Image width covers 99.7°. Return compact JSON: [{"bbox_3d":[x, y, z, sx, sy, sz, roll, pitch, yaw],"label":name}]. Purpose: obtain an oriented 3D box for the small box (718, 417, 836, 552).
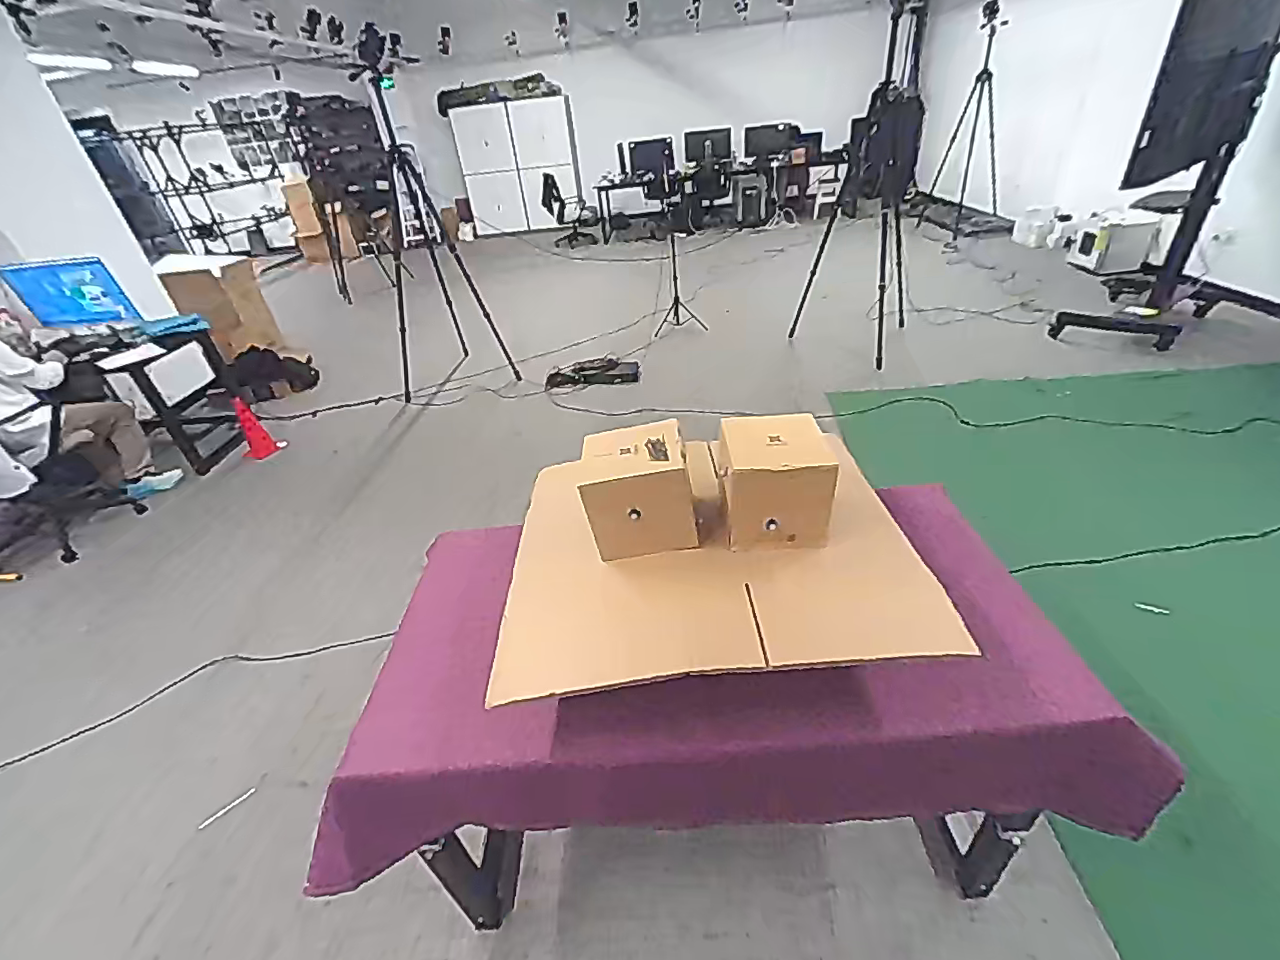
[{"bbox_3d":[0.228,0.006,0.950,0.168,0.176,0.179,-3,35,2],"label":"small box"}]
